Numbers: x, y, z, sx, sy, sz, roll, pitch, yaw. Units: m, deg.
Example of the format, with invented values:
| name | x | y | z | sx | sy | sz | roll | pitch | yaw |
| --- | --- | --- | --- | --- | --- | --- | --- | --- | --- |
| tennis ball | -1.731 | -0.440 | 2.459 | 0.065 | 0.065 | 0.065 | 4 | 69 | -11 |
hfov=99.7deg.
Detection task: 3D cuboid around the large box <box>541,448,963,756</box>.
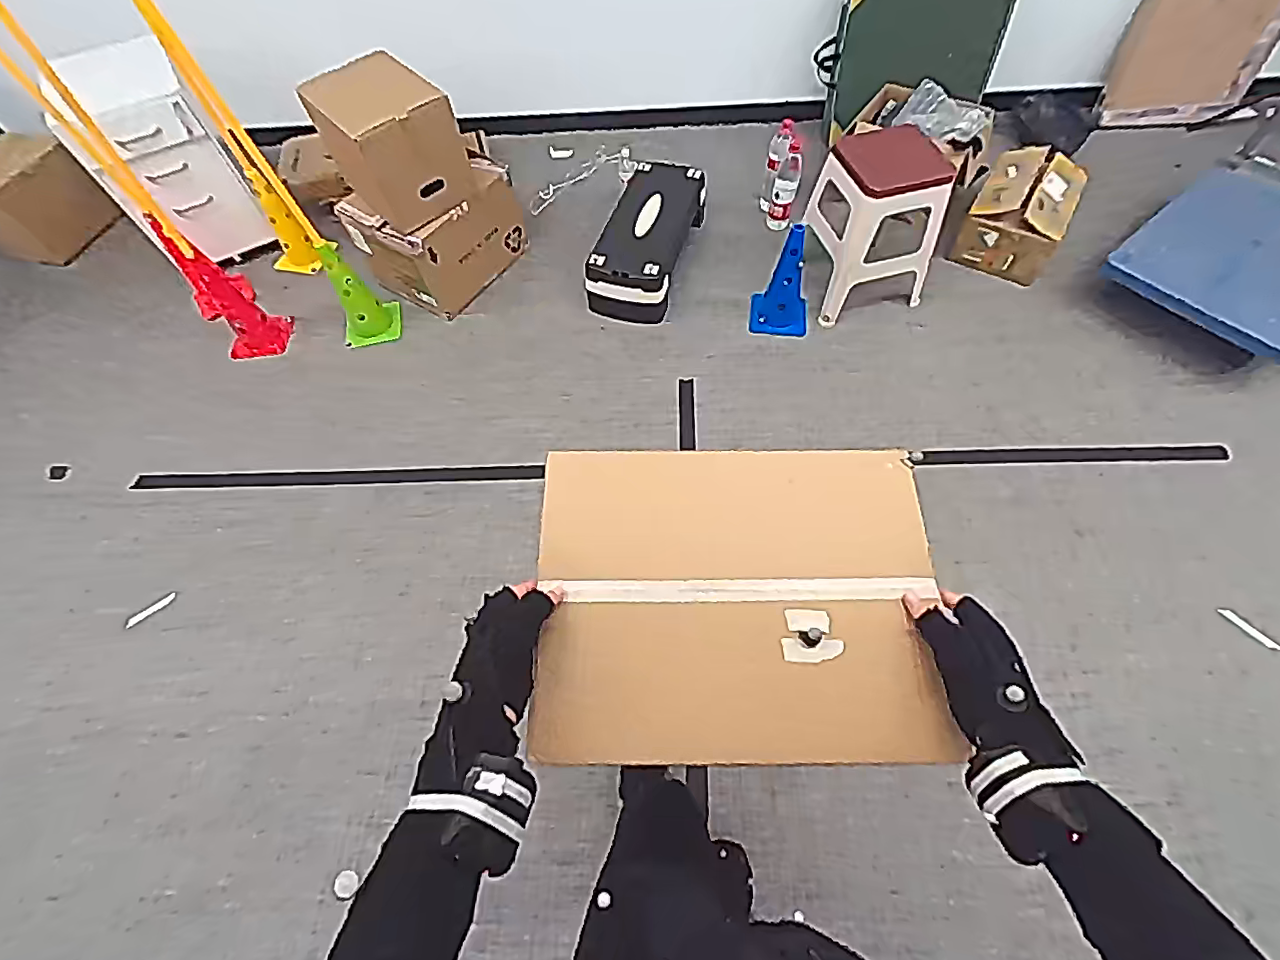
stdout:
| name | x | y | z | sx | sy | sz | roll | pitch | yaw |
| --- | --- | --- | --- | --- | --- | --- | --- | --- | --- |
| large box | 0.099 | 0.166 | 0.695 | 0.408 | 0.320 | 0.320 | 0 | 68 | -1 |
